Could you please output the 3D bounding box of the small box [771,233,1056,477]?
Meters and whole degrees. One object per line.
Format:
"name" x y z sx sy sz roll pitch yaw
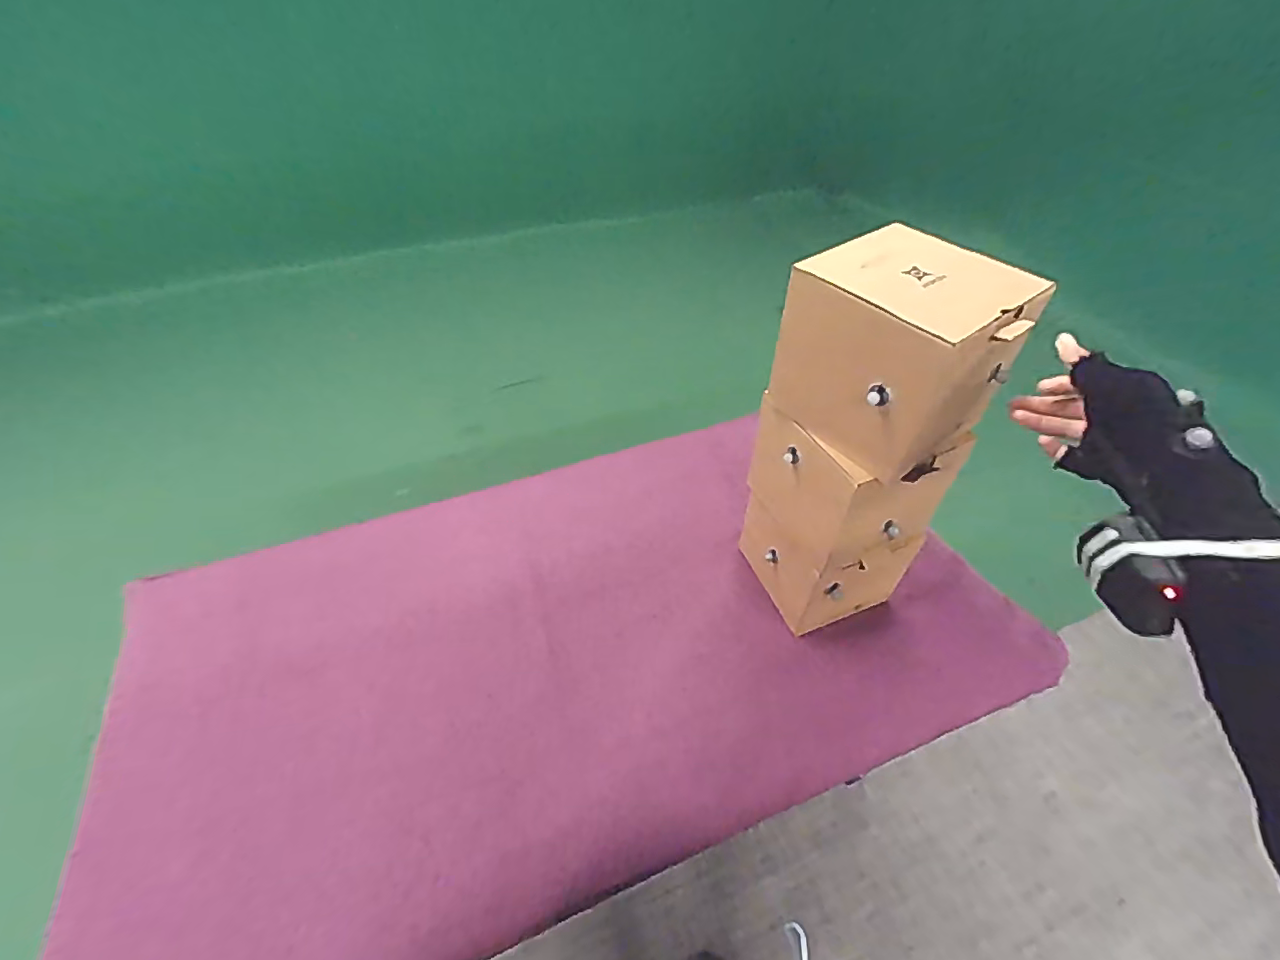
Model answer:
"small box" 0.264 -0.125 0.563 0.168 0.176 0.179 -28 53 -23

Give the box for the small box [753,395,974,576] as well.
"small box" 0.260 -0.013 0.682 0.168 0.176 0.179 -20 50 -15
